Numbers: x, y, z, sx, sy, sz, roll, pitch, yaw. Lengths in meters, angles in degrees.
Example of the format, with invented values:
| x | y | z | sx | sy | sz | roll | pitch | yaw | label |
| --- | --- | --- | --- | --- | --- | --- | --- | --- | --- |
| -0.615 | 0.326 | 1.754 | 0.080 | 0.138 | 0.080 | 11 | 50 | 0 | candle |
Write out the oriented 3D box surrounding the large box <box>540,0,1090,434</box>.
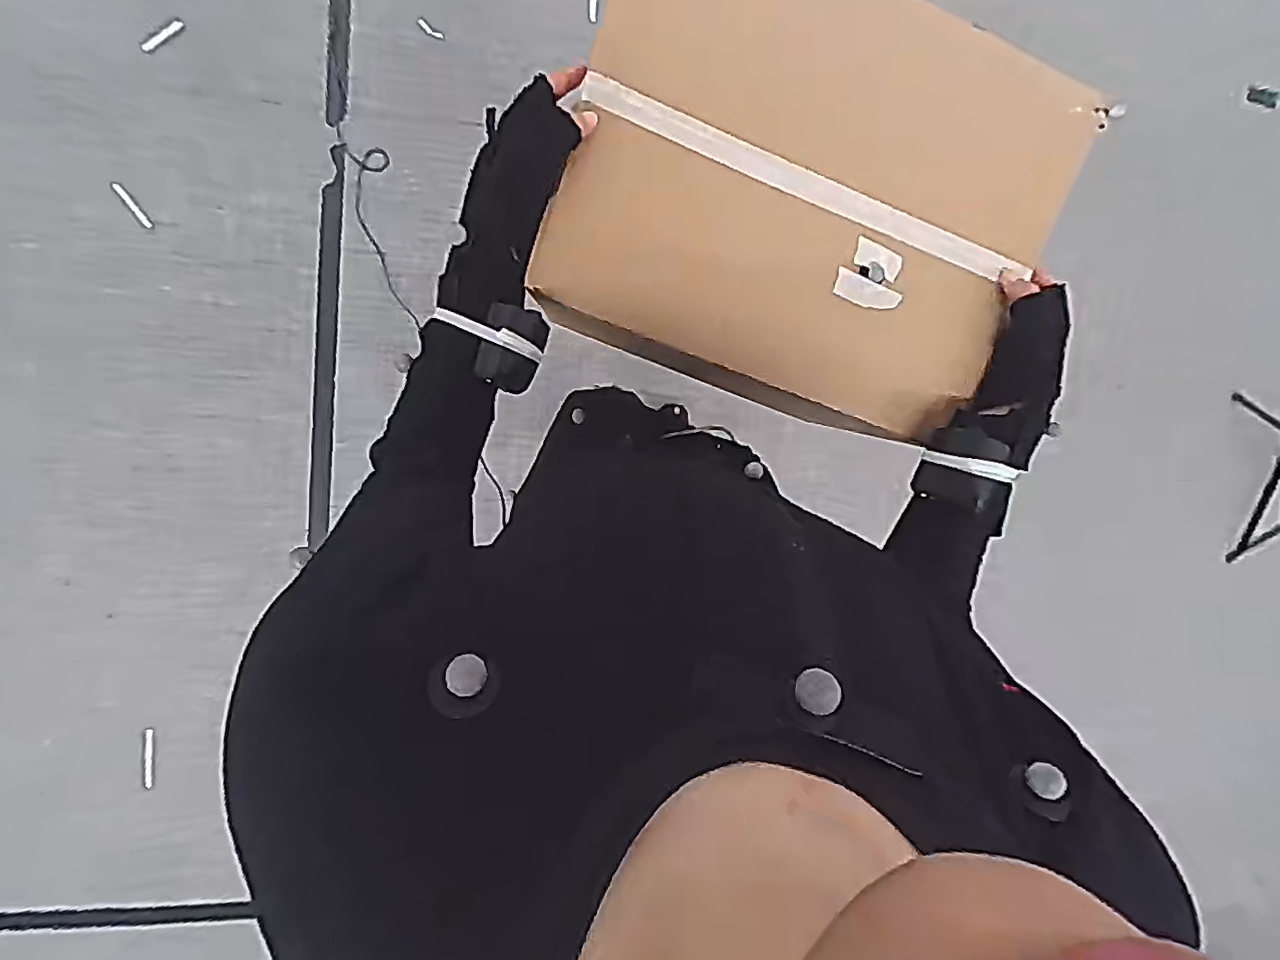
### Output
| x | y | z | sx | sy | sz | roll | pitch | yaw | label |
| --- | --- | --- | --- | --- | --- | --- | --- | --- | --- |
| 0.134 | -0.274 | 0.598 | 0.408 | 0.320 | 0.320 | 19 | 100 | -9 | large box |
